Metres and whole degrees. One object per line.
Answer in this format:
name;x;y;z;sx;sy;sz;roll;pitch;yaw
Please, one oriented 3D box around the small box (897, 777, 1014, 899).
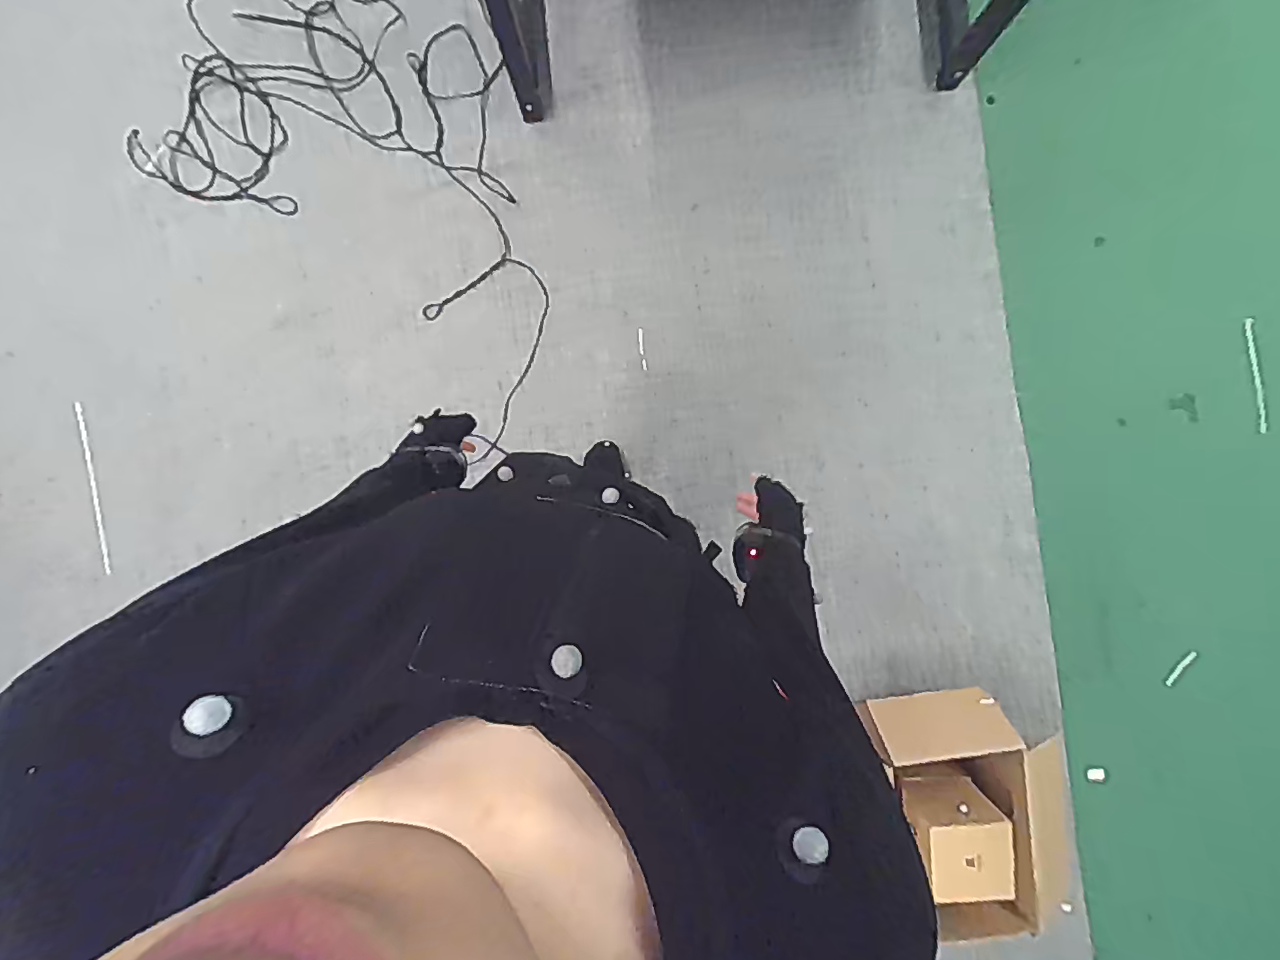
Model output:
small box;0.698;0.800;1.221;0.179;0.176;0.168;-4;91;0
